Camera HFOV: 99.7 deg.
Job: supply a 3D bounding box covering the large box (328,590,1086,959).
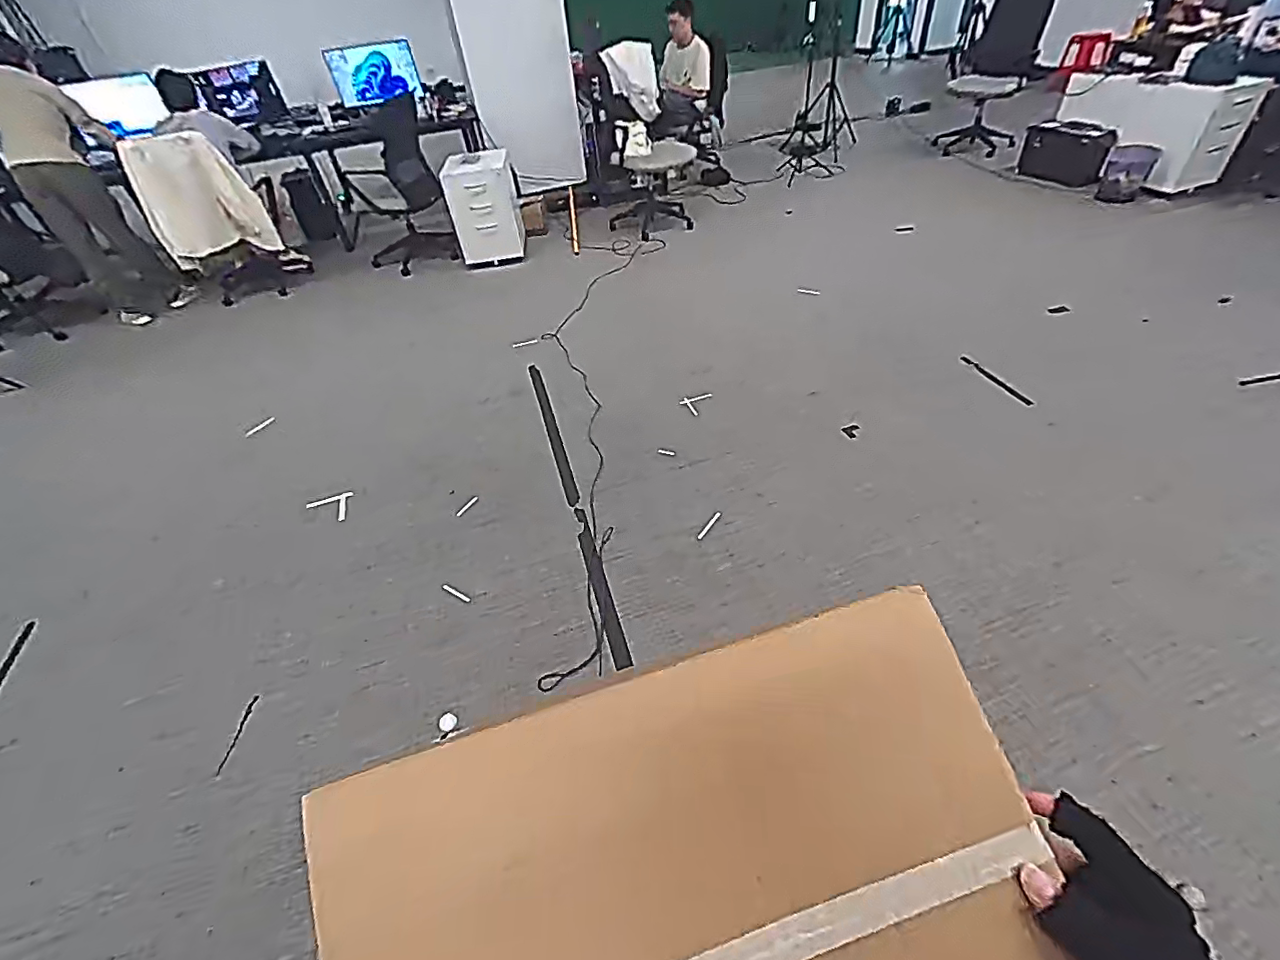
[{"bbox_3d":[0.043,0.319,0.446,0.408,0.320,0.320,-18,74,-6],"label":"large box"}]
